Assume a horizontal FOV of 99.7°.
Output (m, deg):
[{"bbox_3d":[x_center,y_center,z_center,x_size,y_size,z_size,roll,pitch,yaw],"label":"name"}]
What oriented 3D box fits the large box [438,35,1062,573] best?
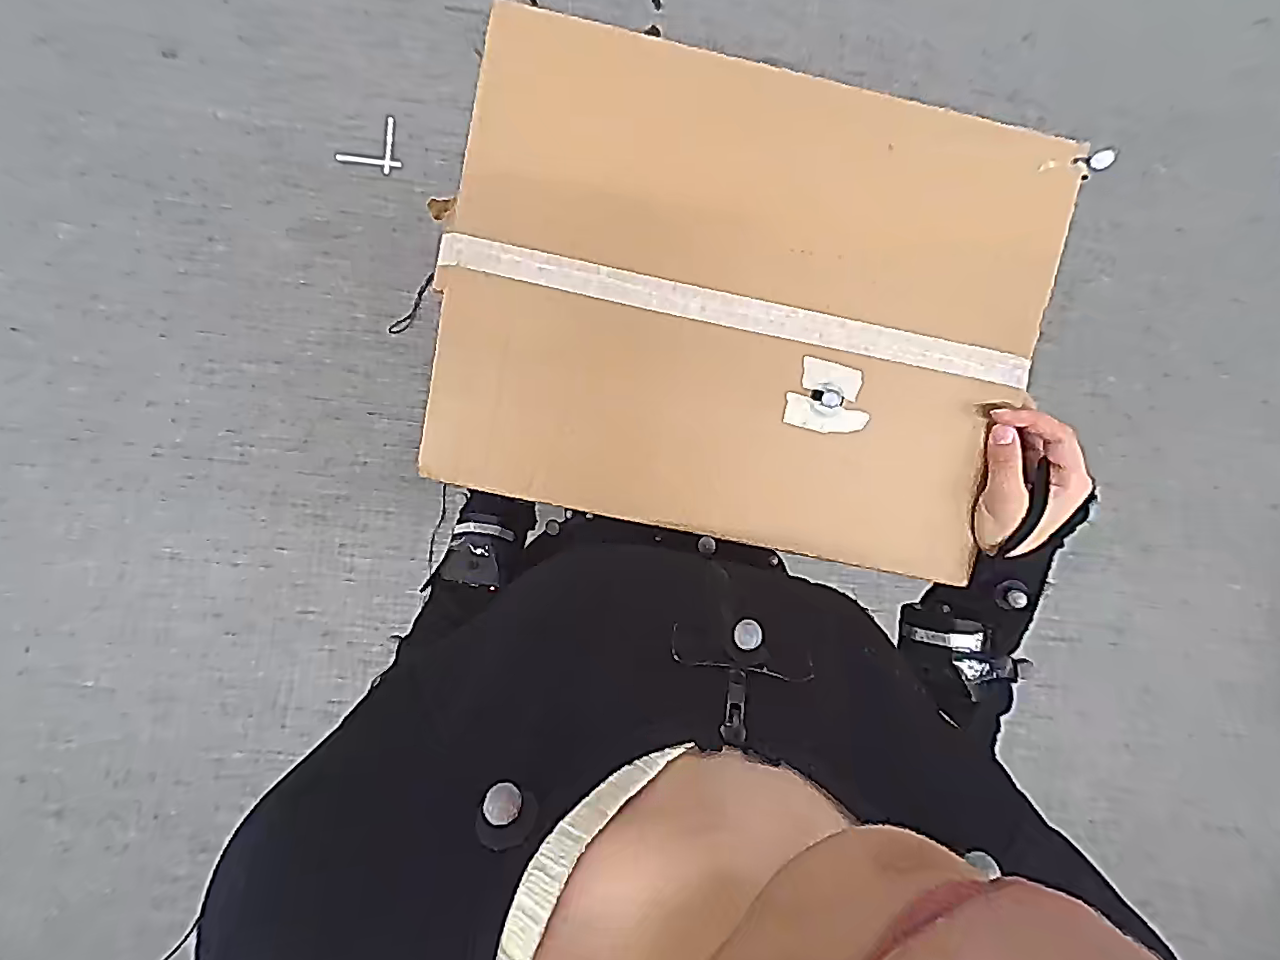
[{"bbox_3d":[0.067,-0.127,0.527,0.408,0.320,0.320,11,97,-4],"label":"large box"}]
